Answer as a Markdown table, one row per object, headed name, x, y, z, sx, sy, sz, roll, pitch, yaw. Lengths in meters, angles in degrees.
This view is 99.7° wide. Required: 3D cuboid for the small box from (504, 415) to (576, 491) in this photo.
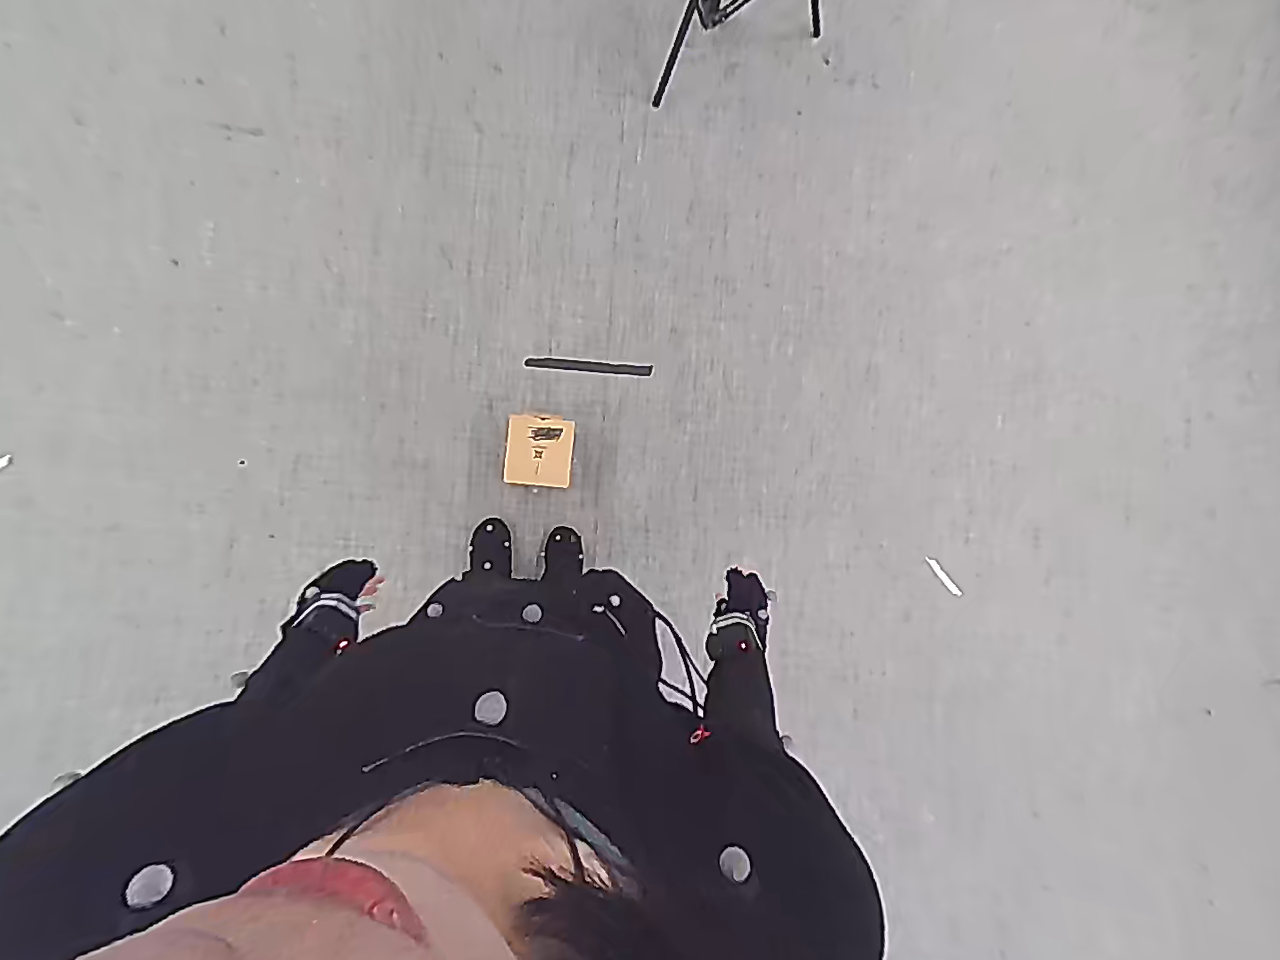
| name | x | y | z | sx | sy | sz | roll | pitch | yaw |
| --- | --- | --- | --- | --- | --- | --- | --- | --- | --- |
| small box | -0.265 | -0.068 | 1.450 | 0.168 | 0.176 | 0.179 | 6 | 87 | -7 |
